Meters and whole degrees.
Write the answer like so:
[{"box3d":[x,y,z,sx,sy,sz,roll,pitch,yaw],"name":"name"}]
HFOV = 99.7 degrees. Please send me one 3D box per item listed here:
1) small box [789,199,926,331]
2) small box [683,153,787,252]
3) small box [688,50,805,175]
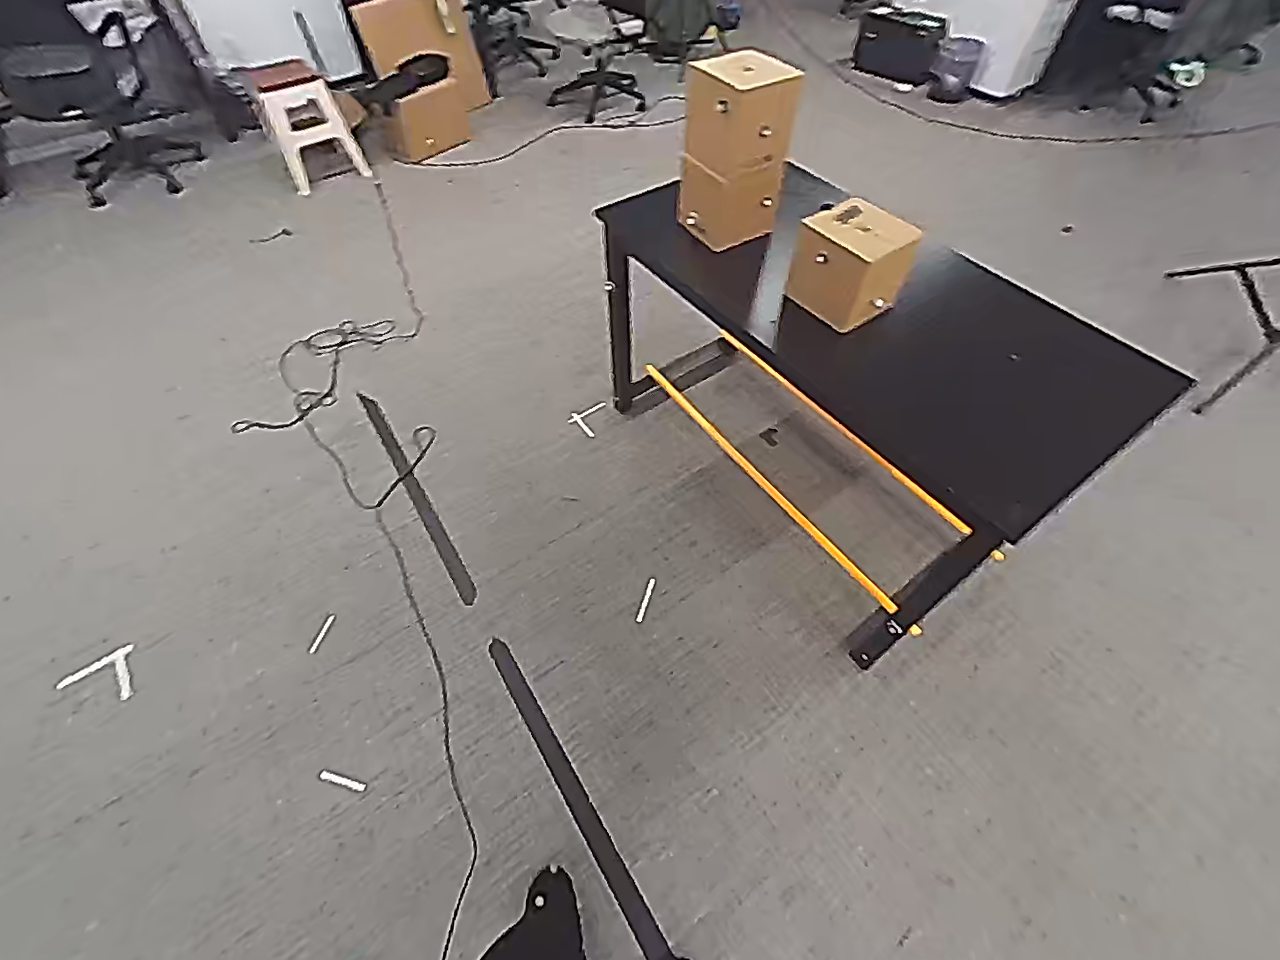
[{"box3d":[0.436,-0.441,1.115,0.168,0.176,0.179,-31,61,-20],"name":"small box"},{"box3d":[0.216,-0.677,1.286,0.179,0.176,0.168,-28,58,-17],"name":"small box"},{"box3d":[0.218,-0.779,1.156,0.168,0.176,0.179,-27,58,-19],"name":"small box"}]
